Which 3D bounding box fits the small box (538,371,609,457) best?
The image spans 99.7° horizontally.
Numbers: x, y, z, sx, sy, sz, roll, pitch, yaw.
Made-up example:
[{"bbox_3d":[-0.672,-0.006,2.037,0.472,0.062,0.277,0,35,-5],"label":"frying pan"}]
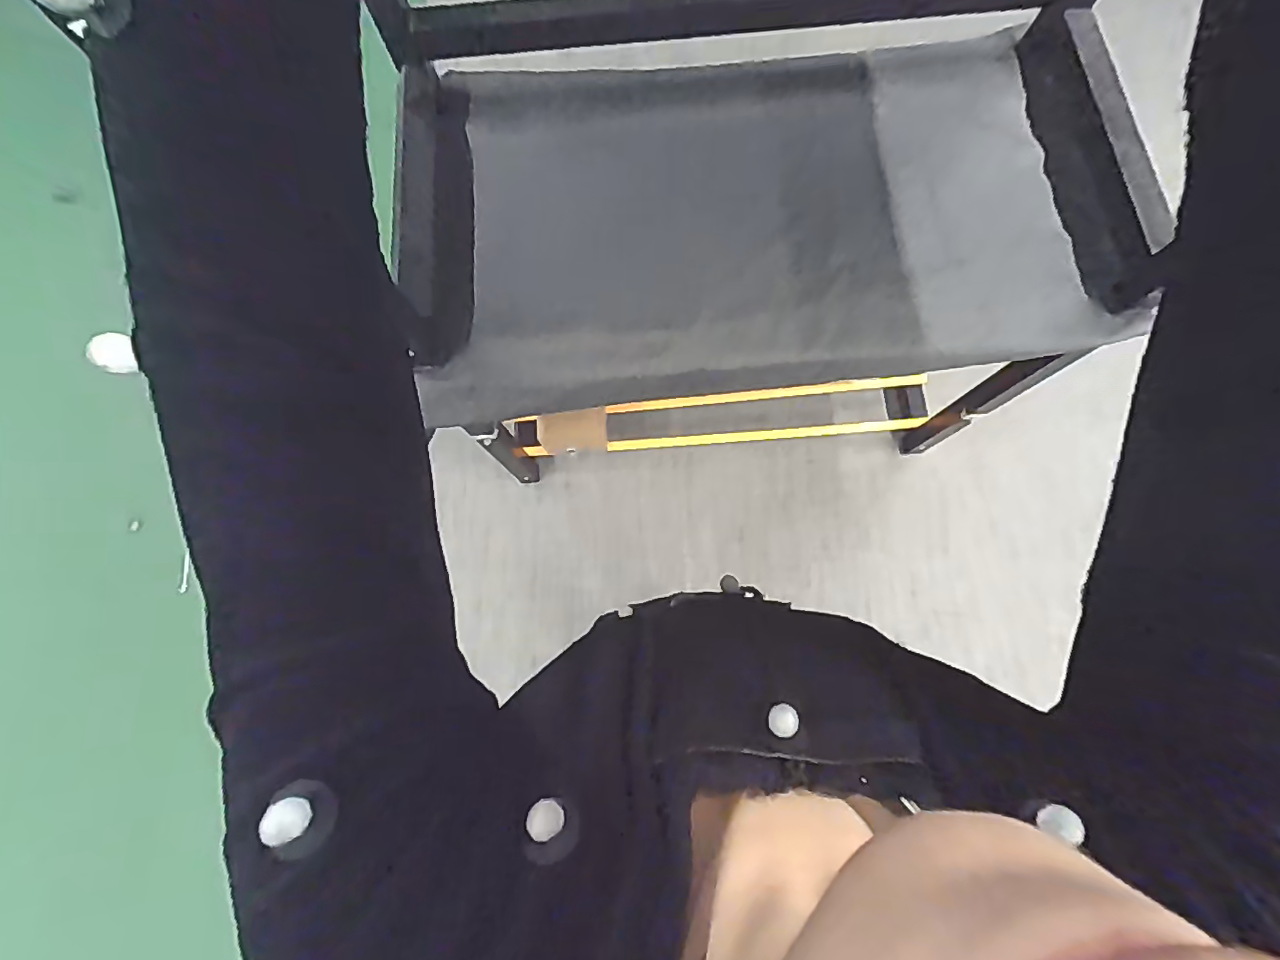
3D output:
[{"bbox_3d":[-0.173,-0.170,1.433,0.168,0.176,0.179,-5,78,1],"label":"small box"}]
